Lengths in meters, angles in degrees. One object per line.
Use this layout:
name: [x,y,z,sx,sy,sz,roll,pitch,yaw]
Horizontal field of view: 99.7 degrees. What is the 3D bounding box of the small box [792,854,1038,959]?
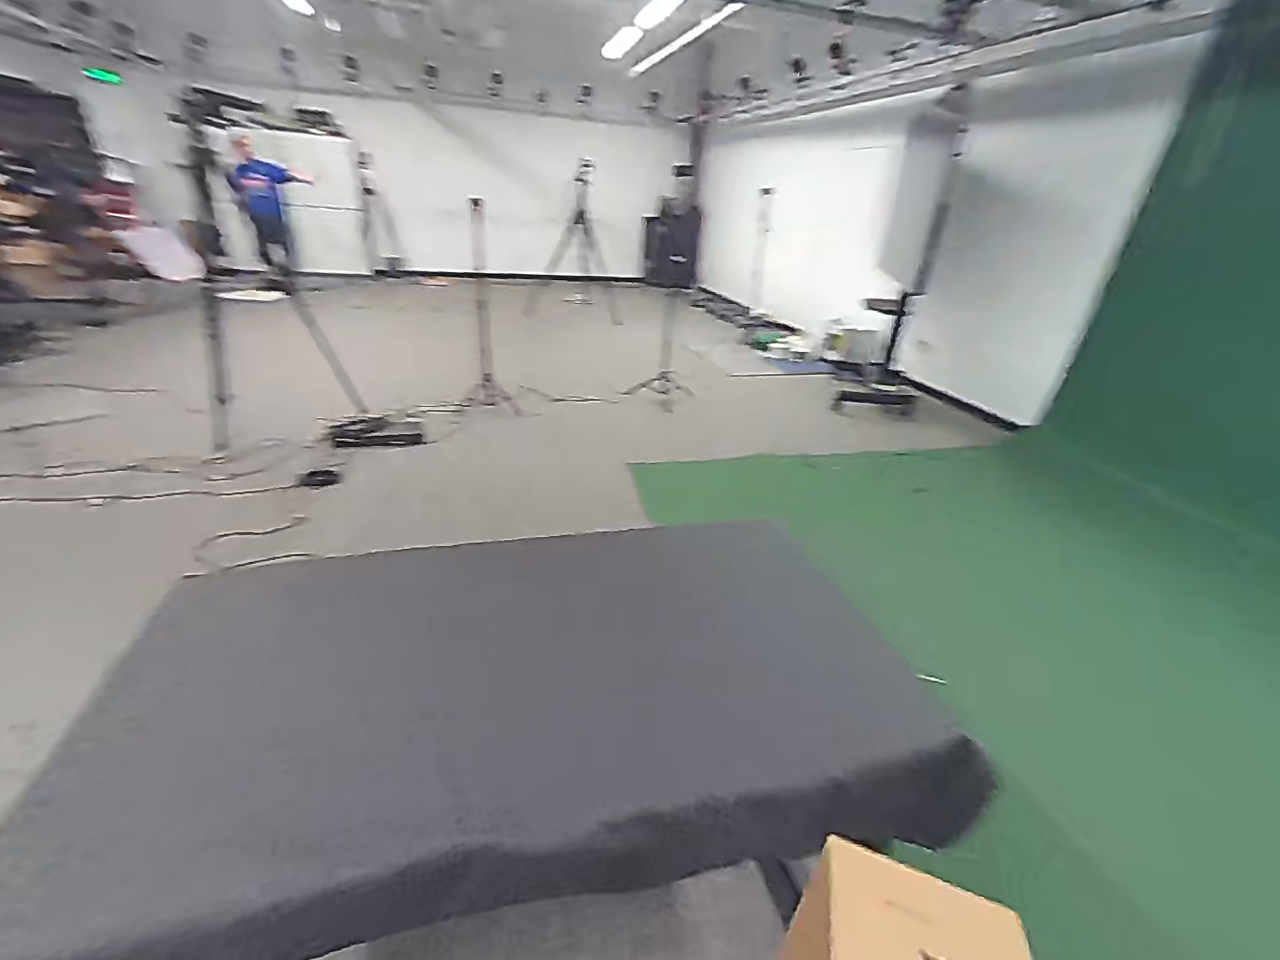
small box: [0.213,0.463,0.426,0.168,0.176,0.179,17,18,14]
